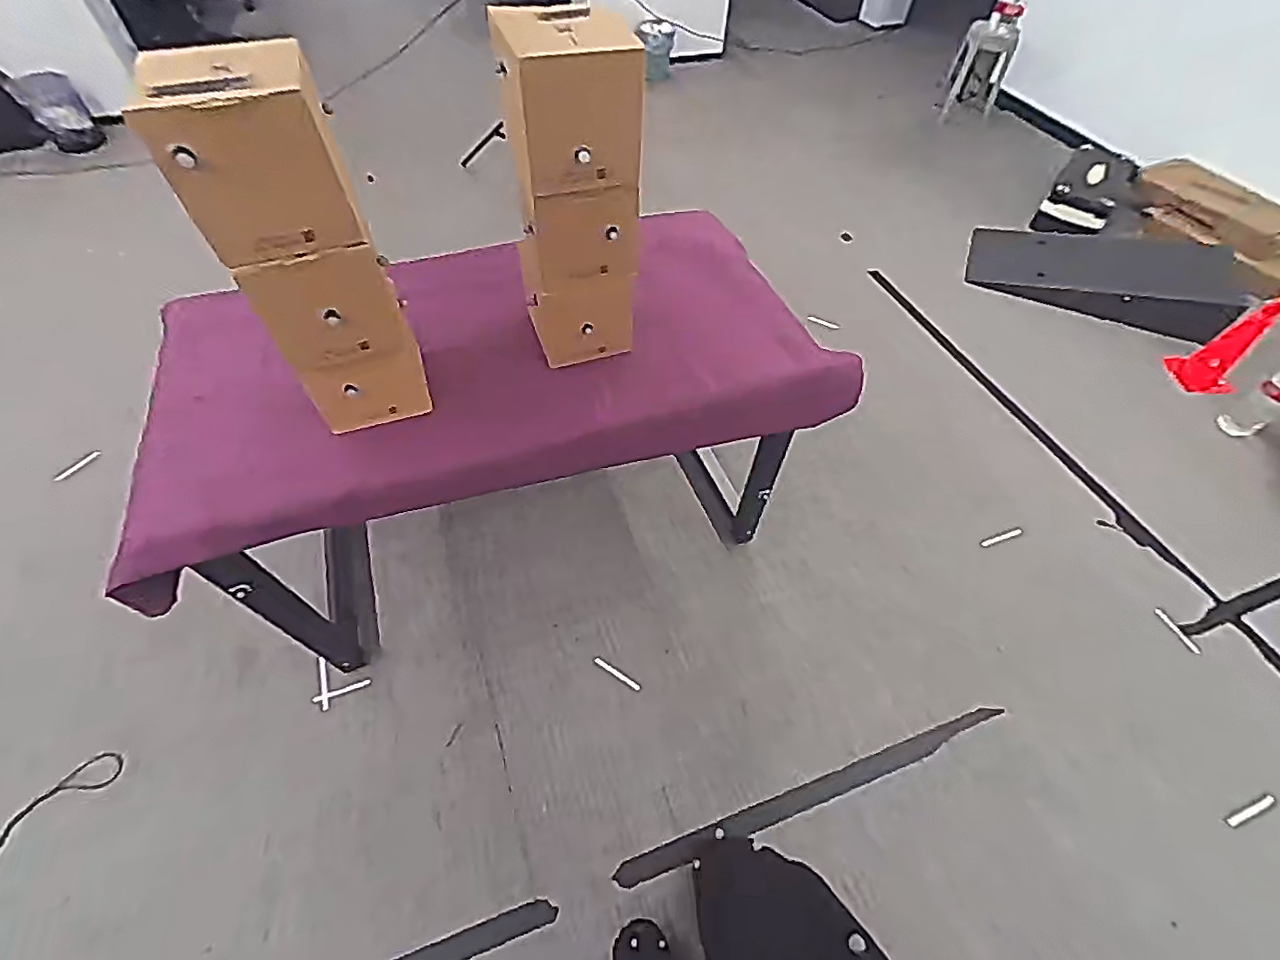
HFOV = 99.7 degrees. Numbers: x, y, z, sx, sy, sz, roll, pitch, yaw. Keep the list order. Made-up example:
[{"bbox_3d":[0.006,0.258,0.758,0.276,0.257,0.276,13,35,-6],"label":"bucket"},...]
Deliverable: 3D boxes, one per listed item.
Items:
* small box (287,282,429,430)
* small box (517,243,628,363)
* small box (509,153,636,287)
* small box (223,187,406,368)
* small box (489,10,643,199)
[{"bbox_3d":[-0.475,-0.205,0.924,0.168,0.176,0.179,-17,57,-13],"label":"small box"},{"bbox_3d":[-0.125,-0.341,1.030,0.168,0.176,0.179,-16,57,-13],"label":"small box"},{"bbox_3d":[-0.110,-0.440,0.902,0.168,0.176,0.179,-14,56,-13],"label":"small box"},{"bbox_3d":[-0.459,-0.283,0.780,0.168,0.176,0.179,-21,59,-16],"label":"small box"},{"bbox_3d":[-0.104,-0.527,0.762,0.168,0.176,0.179,-16,58,-13],"label":"small box"}]
